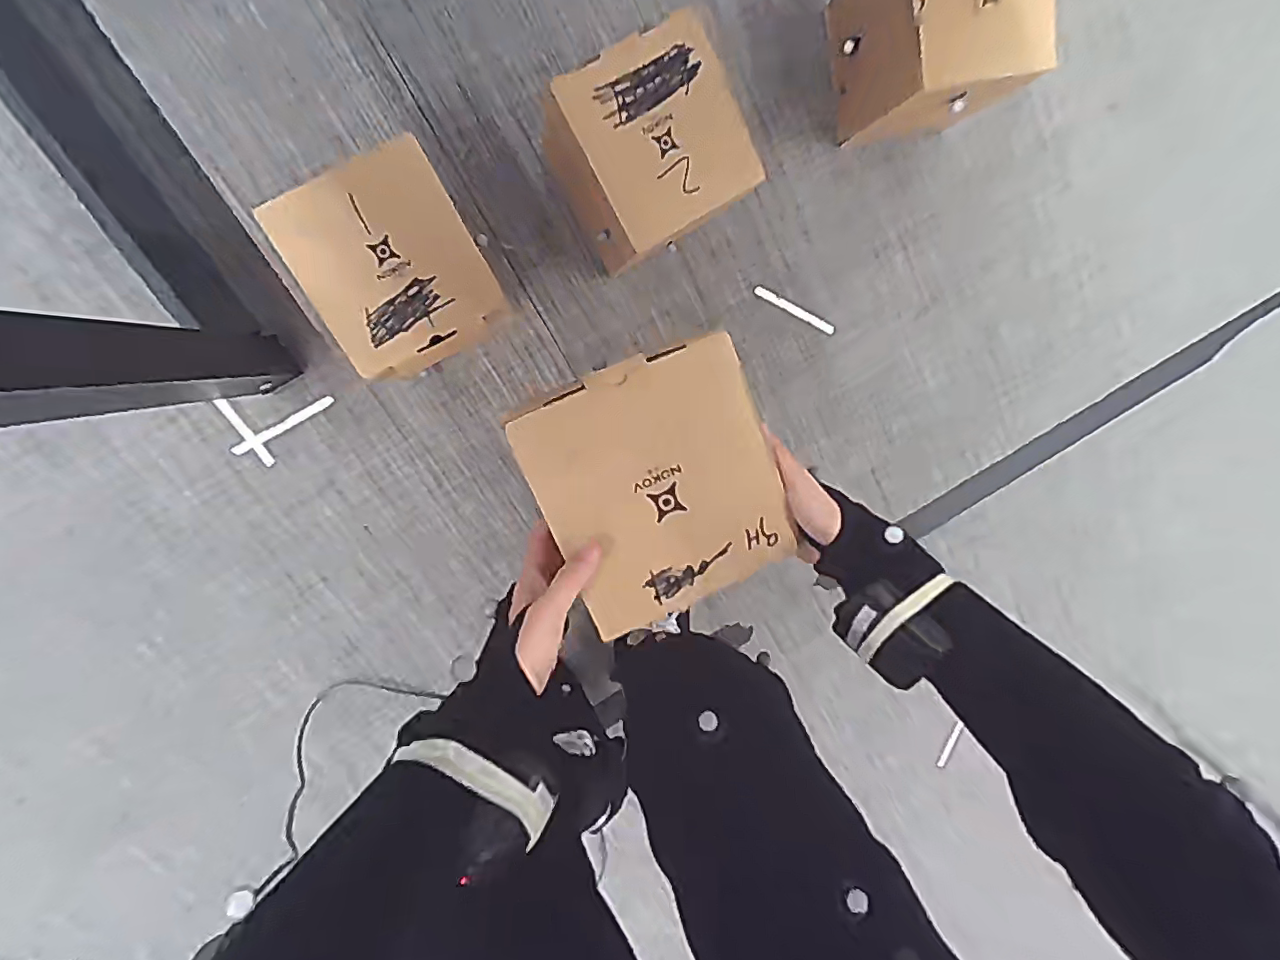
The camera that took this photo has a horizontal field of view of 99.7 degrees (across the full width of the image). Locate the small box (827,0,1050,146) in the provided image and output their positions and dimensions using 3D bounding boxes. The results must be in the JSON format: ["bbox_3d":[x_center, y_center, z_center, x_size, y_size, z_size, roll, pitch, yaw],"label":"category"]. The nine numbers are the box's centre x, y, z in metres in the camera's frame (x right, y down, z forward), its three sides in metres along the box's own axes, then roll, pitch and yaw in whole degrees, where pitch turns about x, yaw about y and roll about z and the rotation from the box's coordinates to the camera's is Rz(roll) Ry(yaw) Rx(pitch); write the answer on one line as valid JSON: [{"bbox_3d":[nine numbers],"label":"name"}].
[{"bbox_3d":[0.358,-0.539,0.664,0.179,0.176,0.168,-14,105,-8],"label":"small box"}]

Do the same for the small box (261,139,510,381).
[{"bbox_3d":[-0.255,-0.226,0.599,0.168,0.176,0.179,-30,105,-6],"label":"small box"}]

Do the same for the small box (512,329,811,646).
[{"bbox_3d":[0.006,-0.004,0.445,0.168,0.176,0.179,-23,103,-6],"label":"small box"}]
